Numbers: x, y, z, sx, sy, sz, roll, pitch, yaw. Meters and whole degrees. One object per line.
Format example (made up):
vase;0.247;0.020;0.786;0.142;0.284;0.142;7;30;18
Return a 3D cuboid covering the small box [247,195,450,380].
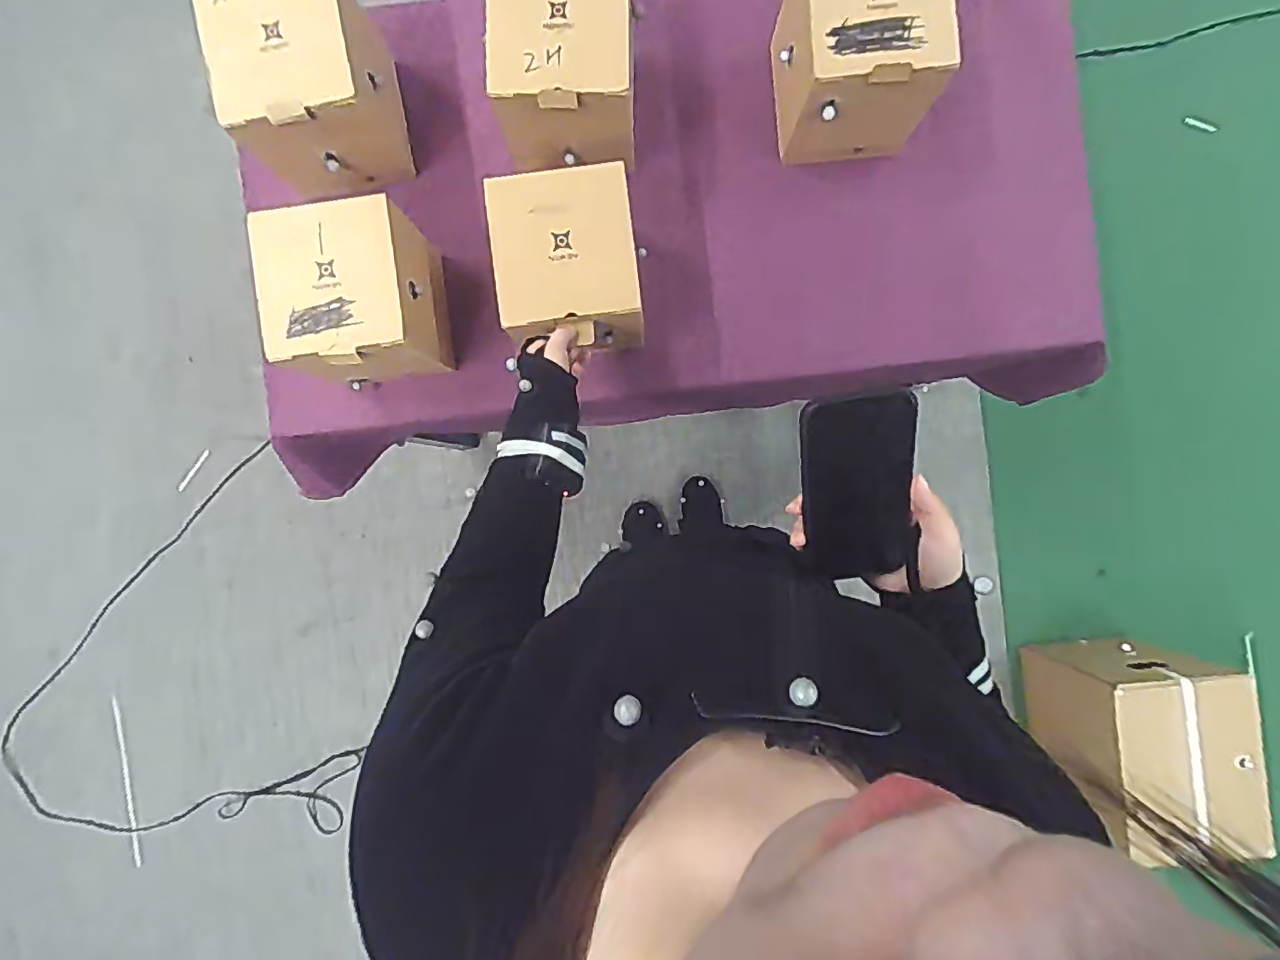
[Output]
small box;-0.362;-0.233;0.703;0.168;0.176;0.179;-8;89;0

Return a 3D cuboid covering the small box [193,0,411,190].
small box;-0.422;-0.506;0.704;0.168;0.176;0.179;-11;91;0

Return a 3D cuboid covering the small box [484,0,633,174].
small box;-0.095;-0.526;0.698;0.168;0.176;0.179;0;91;1

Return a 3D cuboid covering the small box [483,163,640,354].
small box;-0.090;-0.269;0.700;0.168;0.176;0.179;-7;89;0
